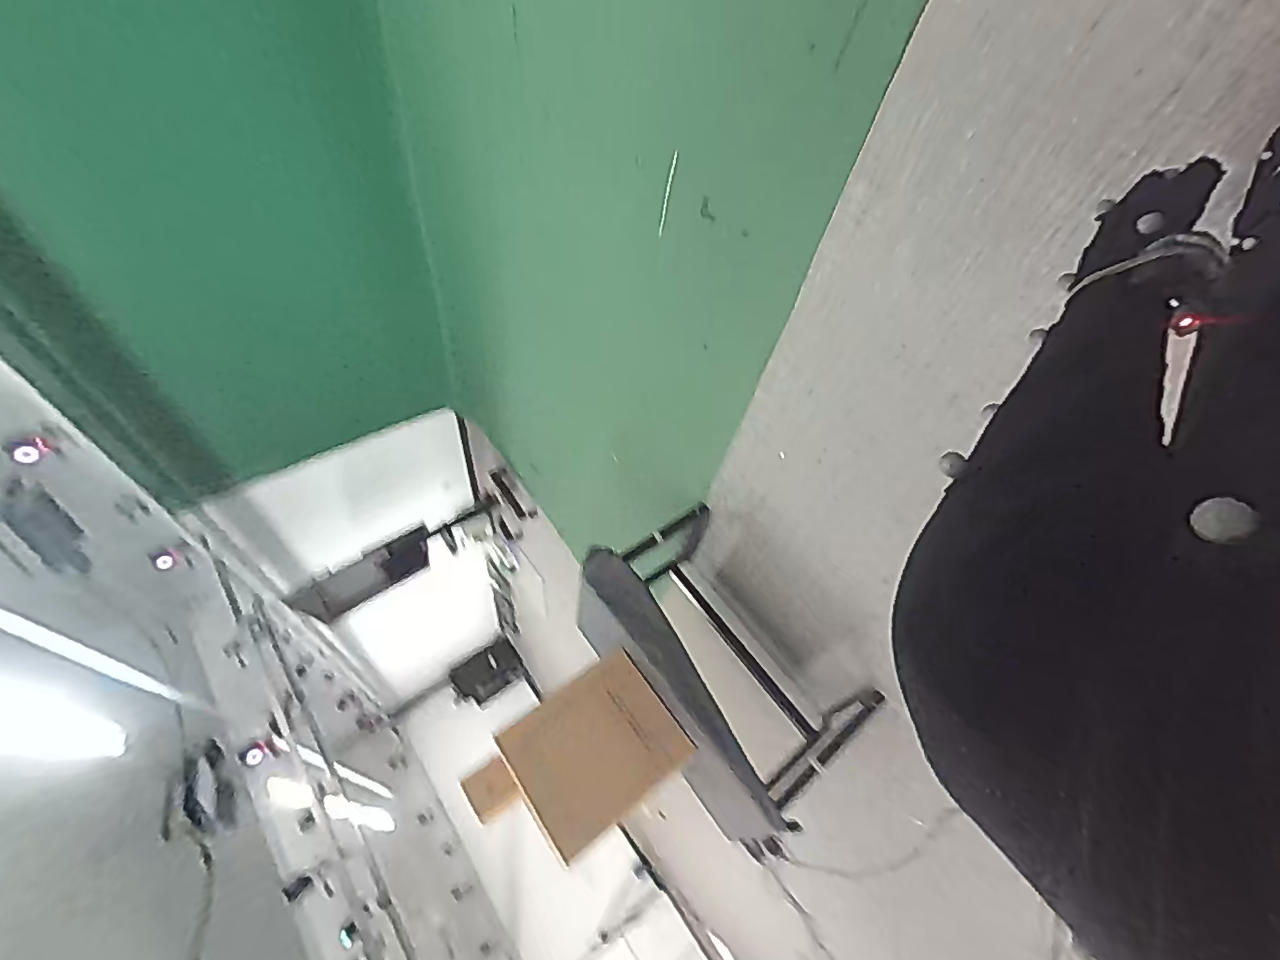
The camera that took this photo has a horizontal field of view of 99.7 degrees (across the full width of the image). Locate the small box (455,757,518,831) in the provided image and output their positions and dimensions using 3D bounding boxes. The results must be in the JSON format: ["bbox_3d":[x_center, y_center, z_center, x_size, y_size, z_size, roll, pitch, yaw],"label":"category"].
[{"bbox_3d":[-0.584,1.195,2.071,0.179,0.176,0.168,45,147,26],"label":"small box"}]
